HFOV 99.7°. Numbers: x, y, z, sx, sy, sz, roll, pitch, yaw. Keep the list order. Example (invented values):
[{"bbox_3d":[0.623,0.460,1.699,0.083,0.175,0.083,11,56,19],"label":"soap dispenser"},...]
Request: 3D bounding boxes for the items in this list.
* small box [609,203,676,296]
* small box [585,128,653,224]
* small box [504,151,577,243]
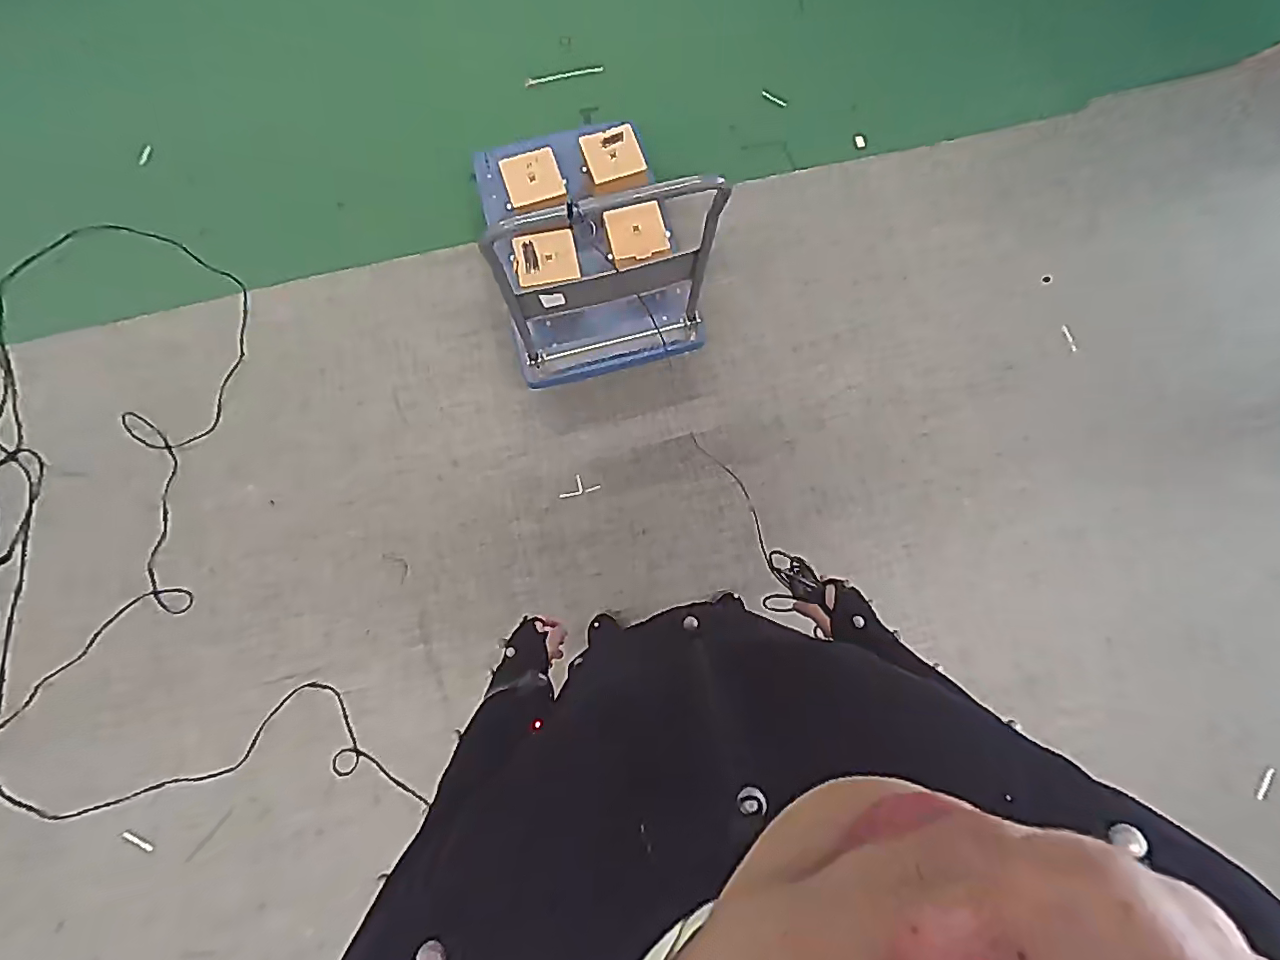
[{"bbox_3d":[0.006,-0.688,1.625,0.168,0.176,0.179,-14,78,-3],"label":"small box"},{"bbox_3d":[-0.063,-0.942,1.686,0.168,0.176,0.179,-18,78,-3],"label":"small box"},{"bbox_3d":[-0.301,-0.862,1.670,0.168,0.176,0.179,-18,77,-4],"label":"small box"}]
